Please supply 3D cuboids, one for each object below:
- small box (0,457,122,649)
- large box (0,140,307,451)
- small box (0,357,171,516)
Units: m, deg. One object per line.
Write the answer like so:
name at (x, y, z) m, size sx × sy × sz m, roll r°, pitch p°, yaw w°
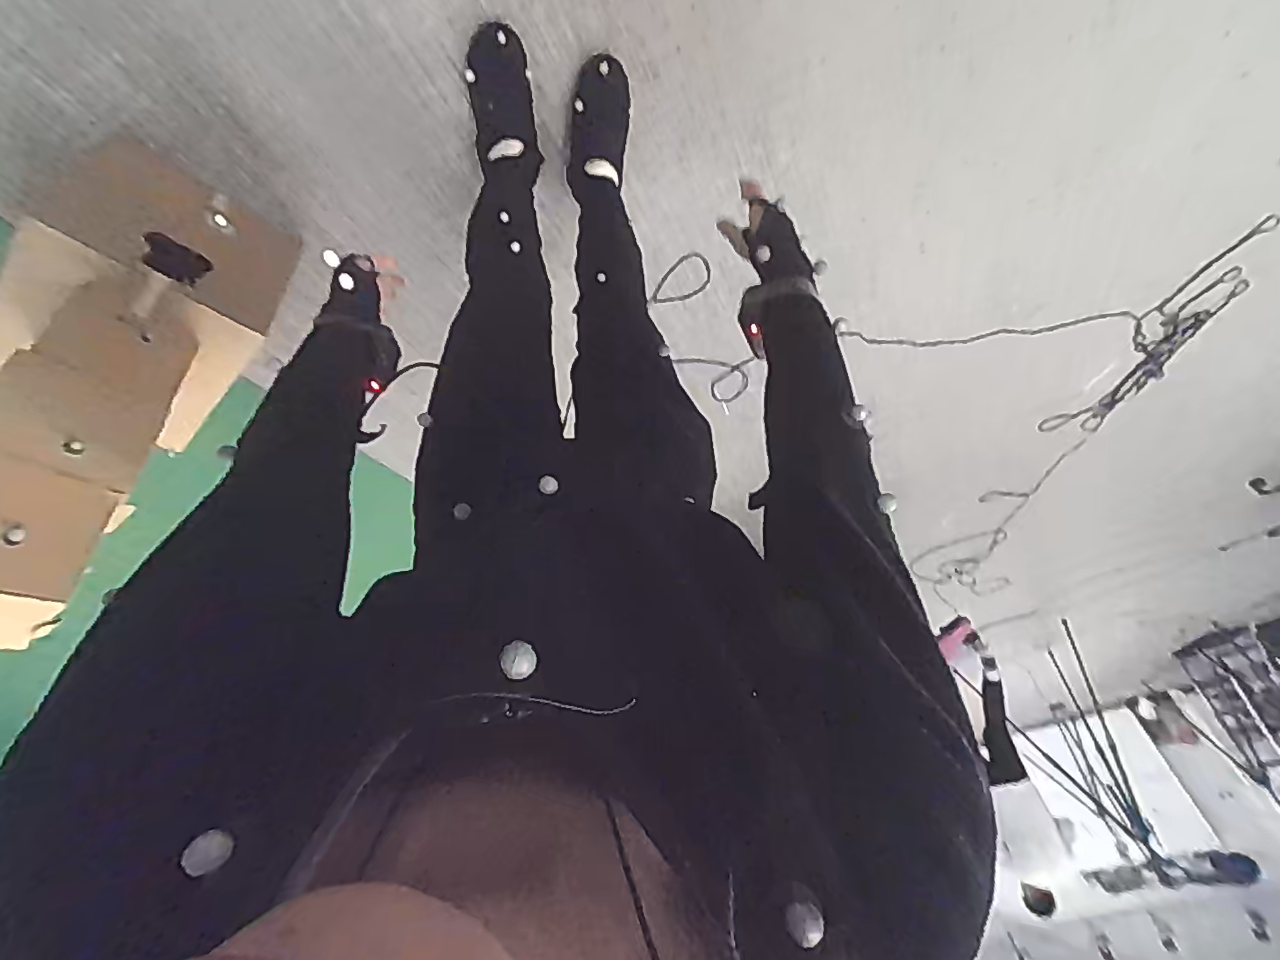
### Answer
small box at (-0.803, 0.088, 0.668) m, size 0.168 × 0.176 × 0.179 m, roll -32°, pitch 140°, yaw 23°
large box at (-0.918, -0.333, 1.041) m, size 0.408 × 0.320 × 0.320 m, roll -33°, pitch 136°, yaw 27°
small box at (-0.825, -0.040, 0.770) m, size 0.168 × 0.176 × 0.179 m, roll -30°, pitch 139°, yaw 22°
